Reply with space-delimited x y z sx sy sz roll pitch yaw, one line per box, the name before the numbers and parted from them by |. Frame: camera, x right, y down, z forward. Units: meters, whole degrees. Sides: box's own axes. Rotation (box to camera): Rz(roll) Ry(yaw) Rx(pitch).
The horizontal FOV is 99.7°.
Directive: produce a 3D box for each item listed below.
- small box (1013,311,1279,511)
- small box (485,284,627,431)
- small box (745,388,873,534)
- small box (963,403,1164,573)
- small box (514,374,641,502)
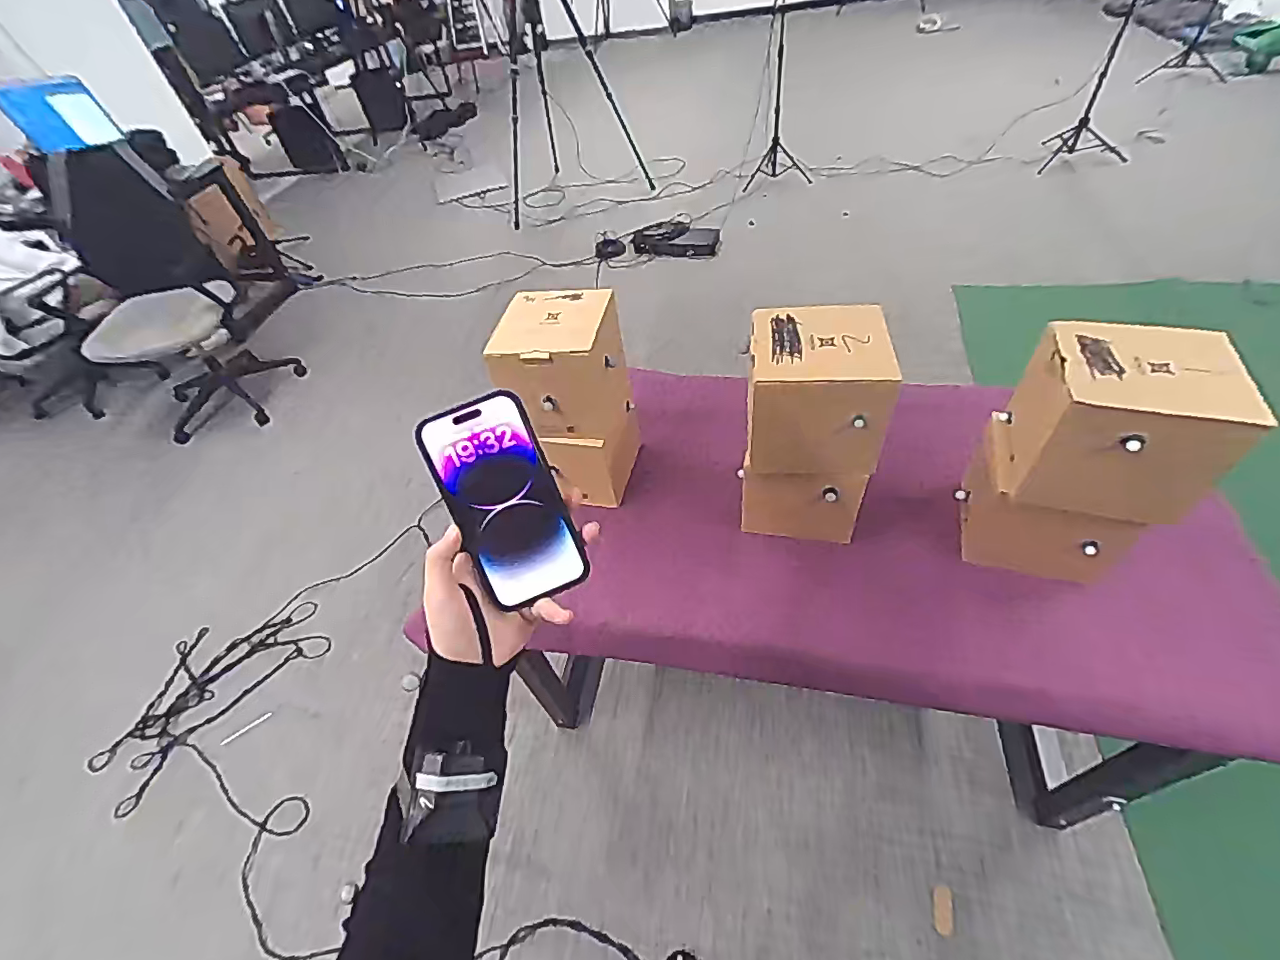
small box | 0.577 -0.083 0.652 0.179 0.176 0.168 10 51 18
small box | -0.122 -0.194 0.876 0.168 0.176 0.179 2 50 11
small box | 0.269 -0.029 0.878 0.179 0.176 0.168 5 49 15
small box | 0.593 0.014 0.784 0.179 0.176 0.168 10 51 19
small box | -0.102 -0.079 0.991 0.168 0.176 0.179 6 50 15
